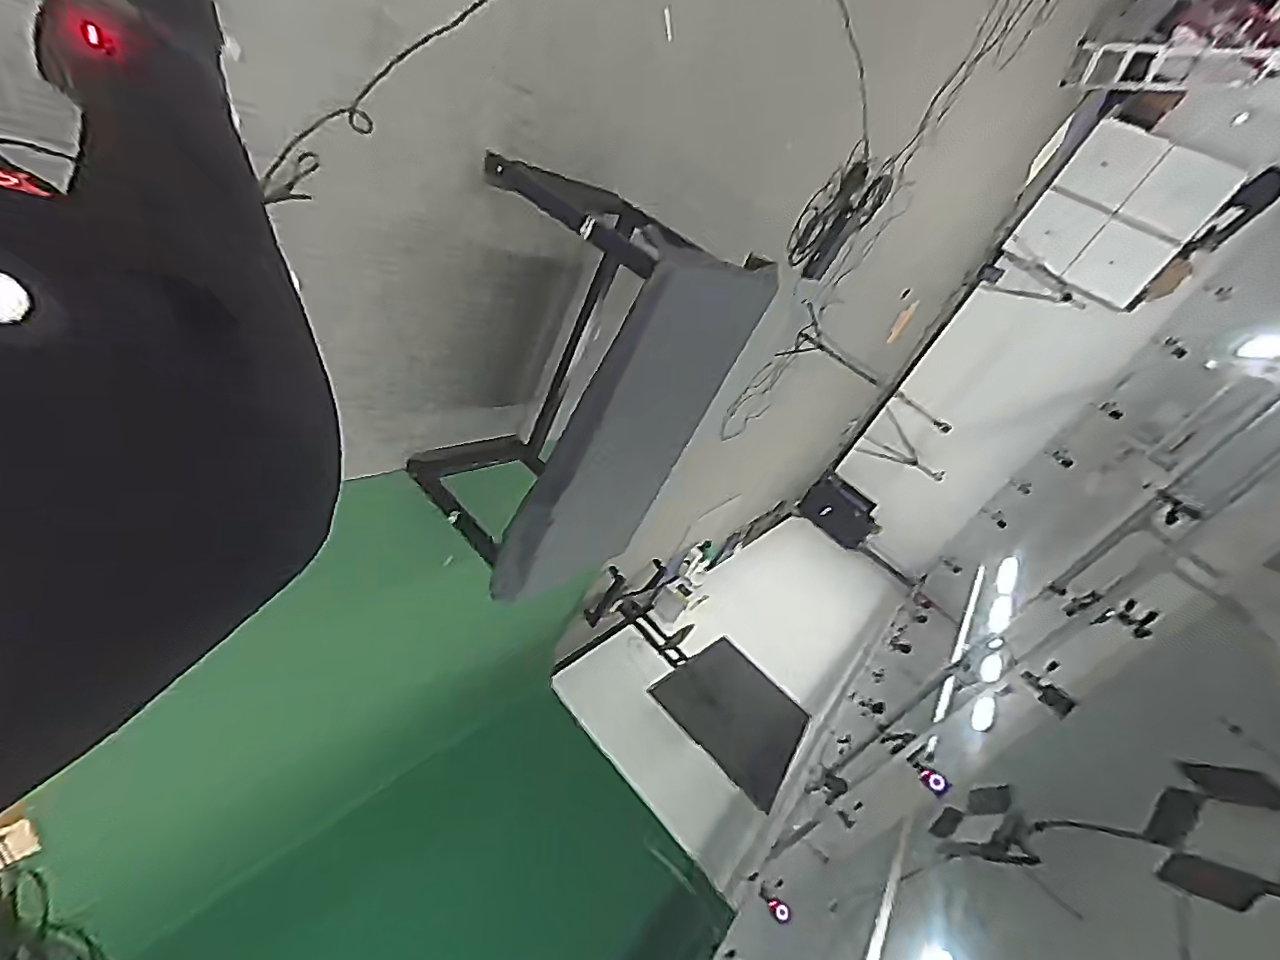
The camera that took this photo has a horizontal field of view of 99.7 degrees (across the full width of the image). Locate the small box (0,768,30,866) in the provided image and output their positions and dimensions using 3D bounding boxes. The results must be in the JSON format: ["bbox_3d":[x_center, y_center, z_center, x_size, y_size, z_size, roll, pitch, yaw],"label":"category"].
[{"bbox_3d":[-1.532,0.791,1.219,0.168,0.176,0.179,-20,146,-53],"label":"small box"}]
